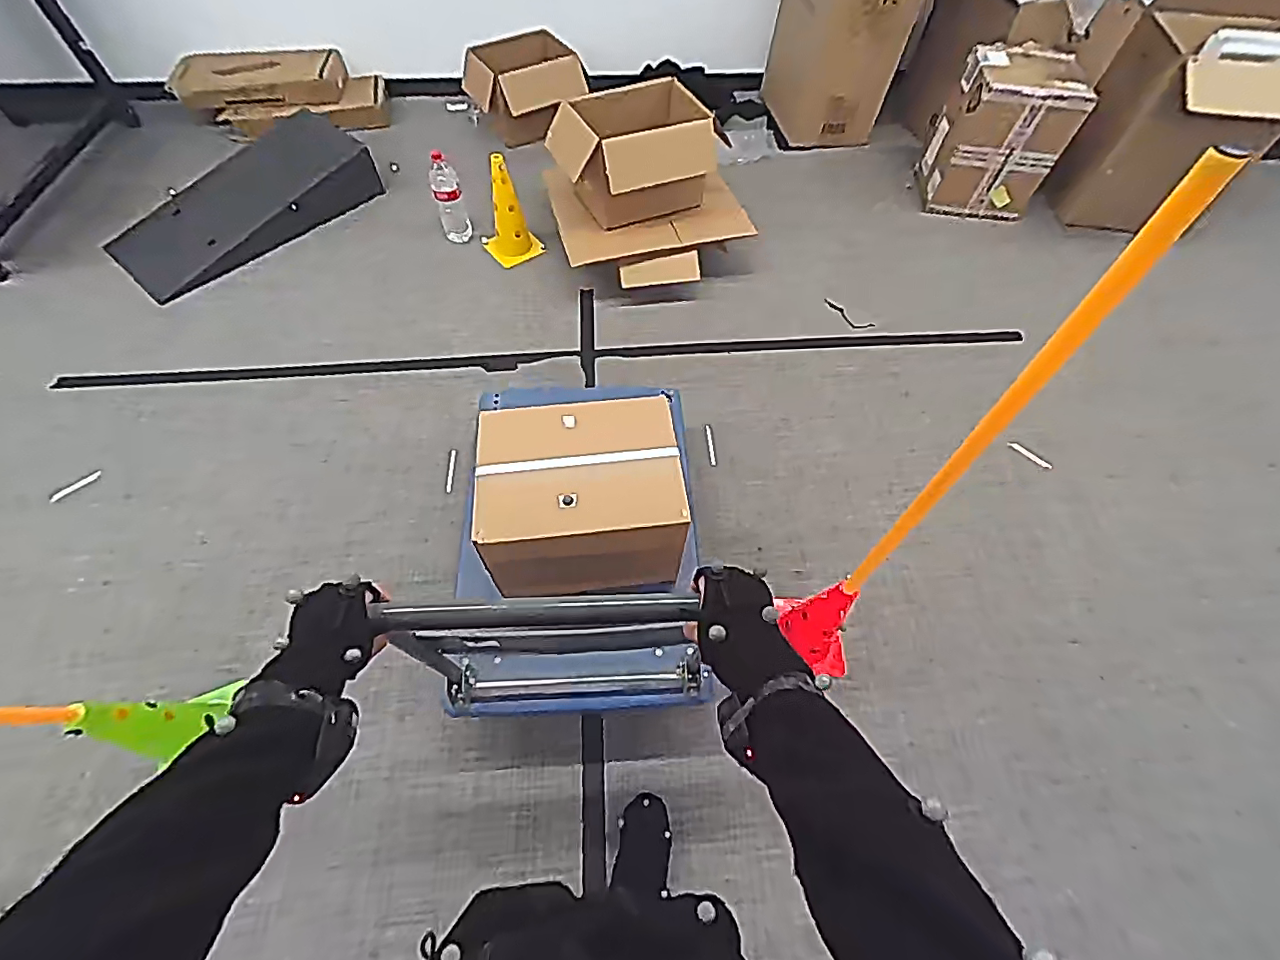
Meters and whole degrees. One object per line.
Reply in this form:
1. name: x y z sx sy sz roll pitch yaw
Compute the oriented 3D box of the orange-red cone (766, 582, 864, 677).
1. orange-red cone: 0.430 0.310 1.234 0.199 0.360 0.198 3 59 -1
